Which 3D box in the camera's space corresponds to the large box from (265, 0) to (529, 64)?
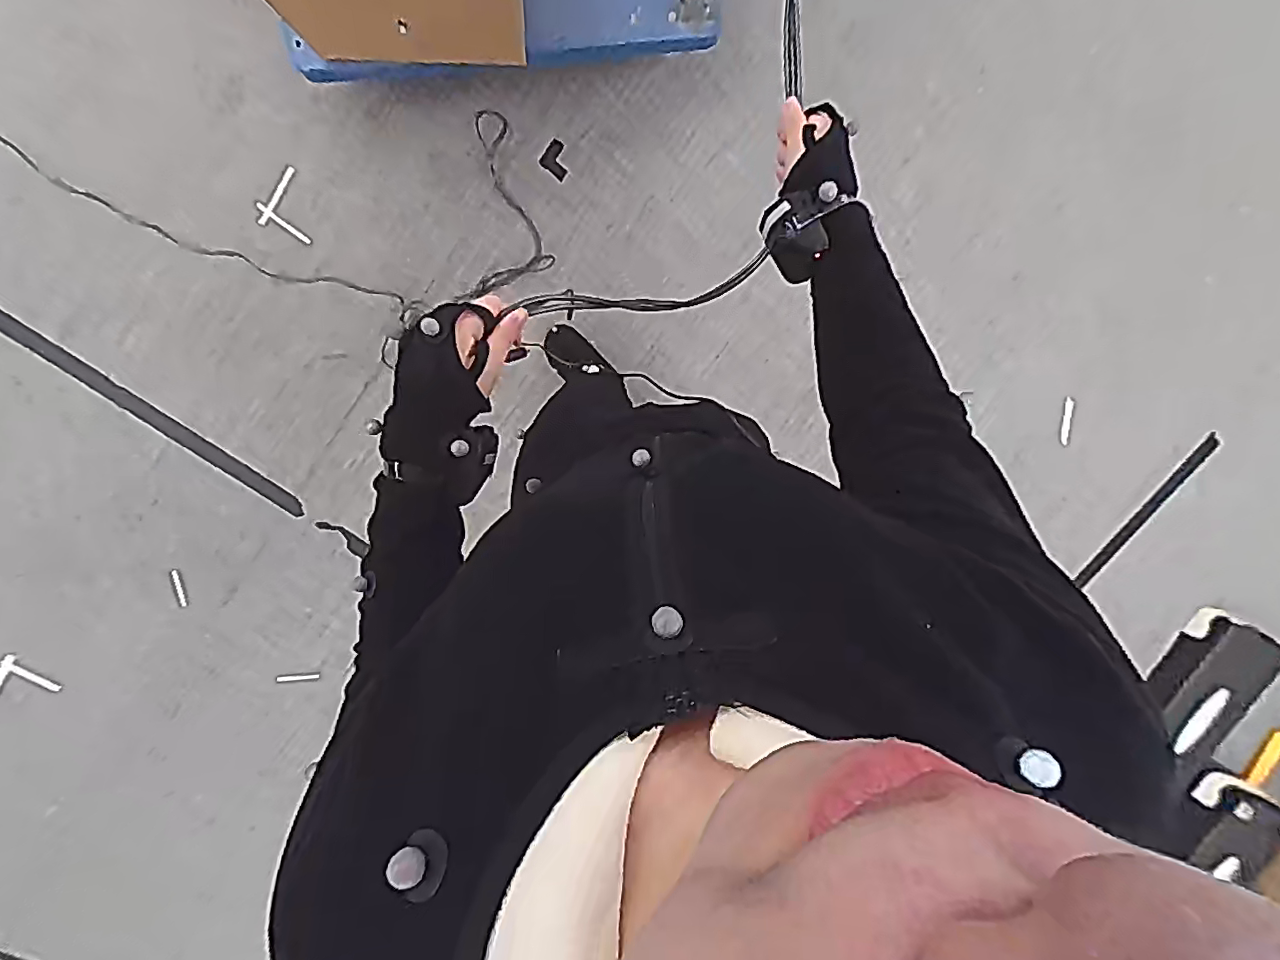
[{"bbox_3d":[-0.416,-0.941,0.900,0.408,0.320,0.320,-2,103,-4],"label":"large box"}]
